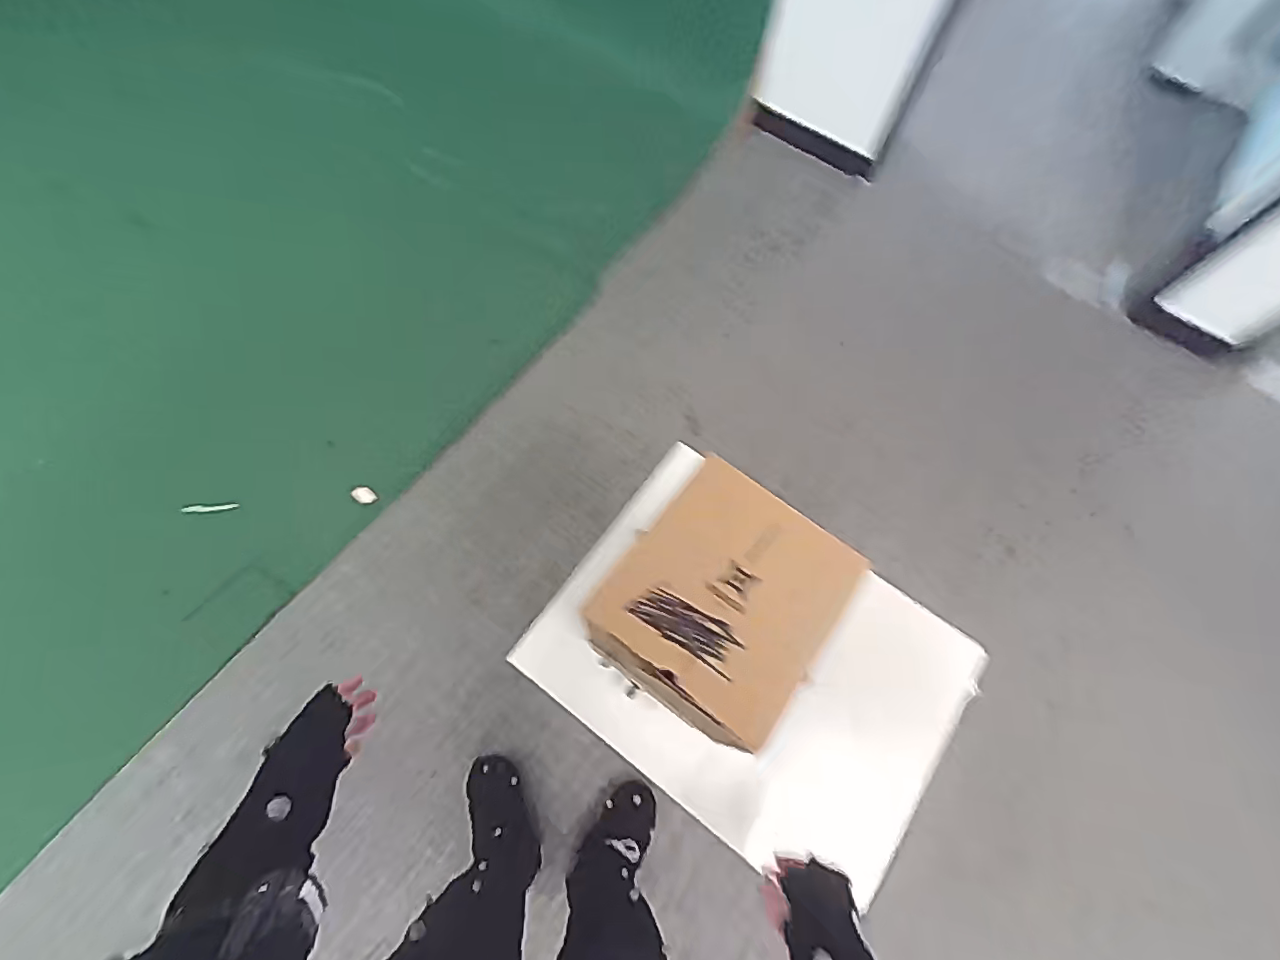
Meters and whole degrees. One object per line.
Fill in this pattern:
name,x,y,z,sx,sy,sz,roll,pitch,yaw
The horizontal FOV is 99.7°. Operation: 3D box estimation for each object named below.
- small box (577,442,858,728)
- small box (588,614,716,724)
small box,0.063,0.104,0.507,0.168,0.176,0.179,38,70,12
small box,0.055,0.159,0.645,0.168,0.176,0.179,35,72,11
